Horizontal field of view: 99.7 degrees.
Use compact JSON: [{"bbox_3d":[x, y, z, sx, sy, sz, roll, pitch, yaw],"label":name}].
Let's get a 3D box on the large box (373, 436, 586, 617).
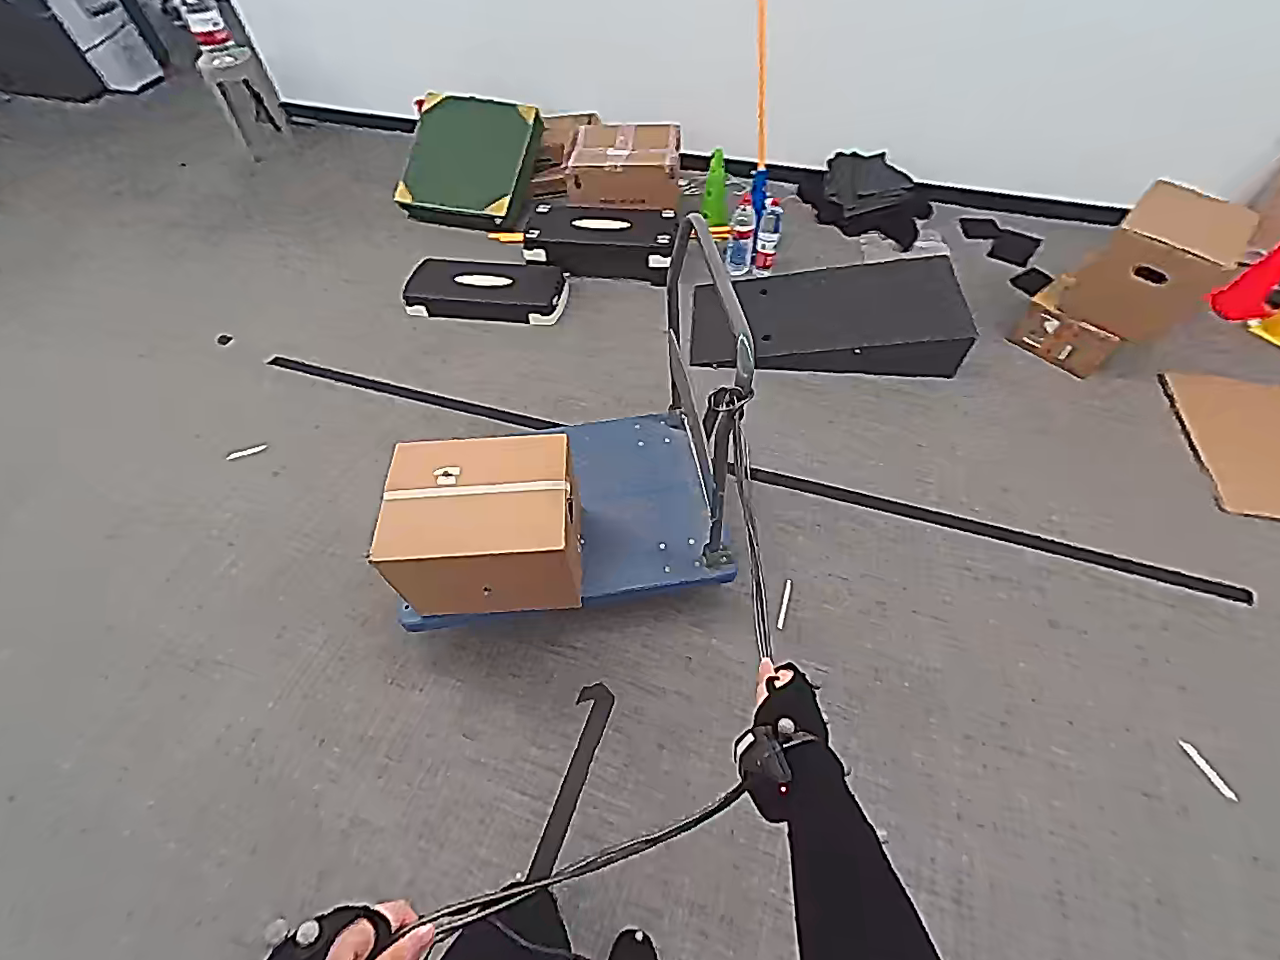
[{"bbox_3d":[-0.349,0.121,1.304,0.408,0.320,0.320,-4,54,0],"label":"large box"}]
